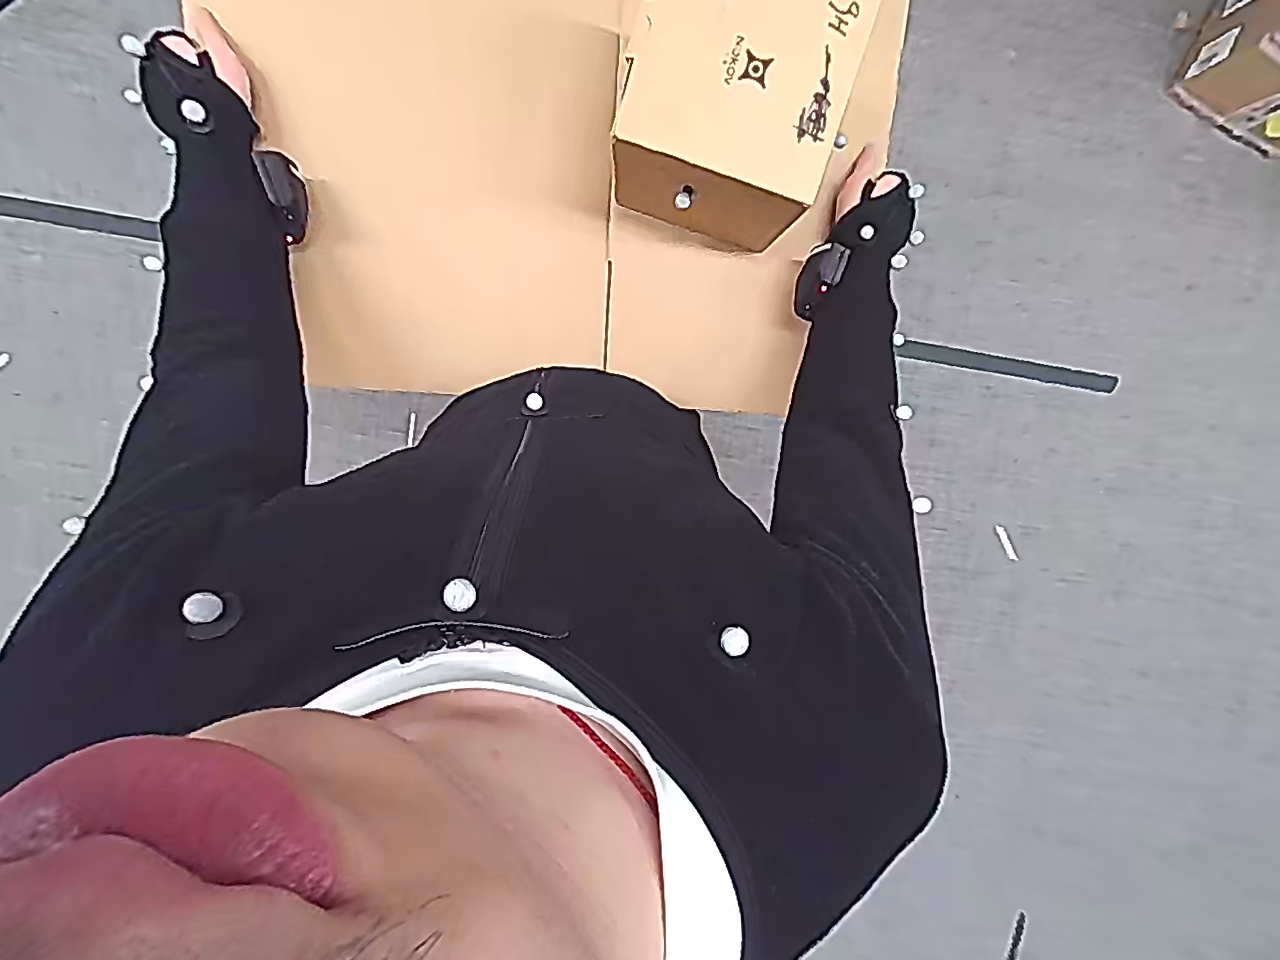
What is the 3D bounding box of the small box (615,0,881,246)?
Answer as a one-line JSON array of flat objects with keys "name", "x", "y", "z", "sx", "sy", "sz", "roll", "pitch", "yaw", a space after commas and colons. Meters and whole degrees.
[{"name": "small box", "x": 0.084, "y": -0.343, "z": 0.513, "sx": 0.179, "sy": 0.176, "sz": 0.168, "roll": 17, "pitch": 99, "yaw": -4}]
